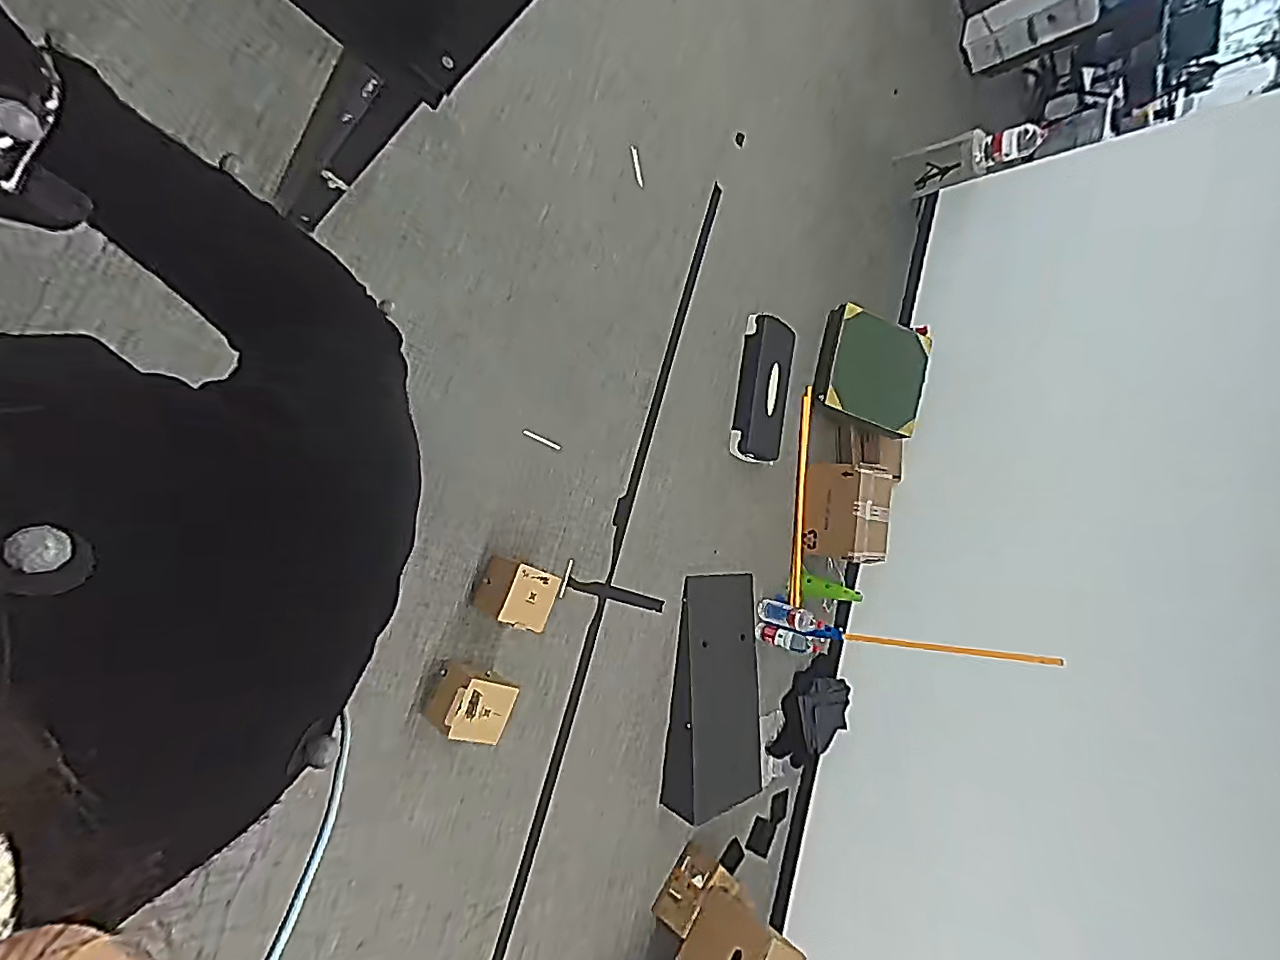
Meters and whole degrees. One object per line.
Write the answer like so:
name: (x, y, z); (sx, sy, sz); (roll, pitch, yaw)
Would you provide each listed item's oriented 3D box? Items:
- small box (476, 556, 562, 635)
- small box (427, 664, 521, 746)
small box: (-0.377, 0.351, 1.658); (0.168, 0.176, 0.179); (32, 73, -41)
small box: (-0.489, 0.654, 1.582); (0.179, 0.176, 0.168); (34, 71, -41)
